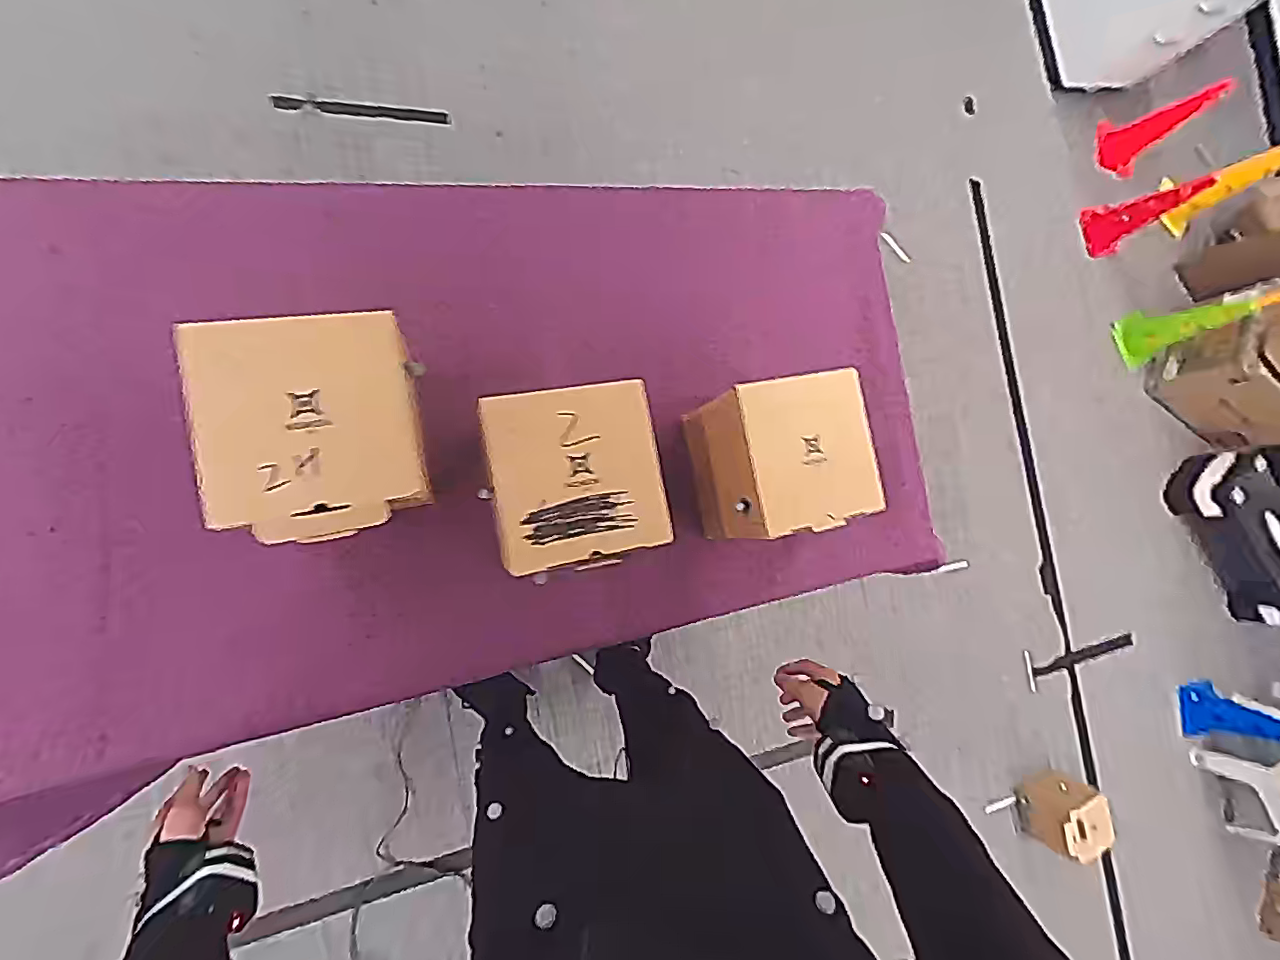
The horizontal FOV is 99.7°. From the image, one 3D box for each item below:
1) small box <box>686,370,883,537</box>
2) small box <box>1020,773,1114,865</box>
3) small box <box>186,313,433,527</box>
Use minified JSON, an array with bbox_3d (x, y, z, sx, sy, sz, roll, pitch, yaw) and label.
[{"bbox_3d":[0.174,-0.027,0.697,0.168,0.176,0.179,-11,89,-18],"label":"small box"},{"bbox_3d":[1.372,1.089,1.752,0.179,0.176,0.168,-11,89,-19],"label":"small box"},{"bbox_3d":[-0.310,-0.050,0.544,0.168,0.176,0.179,-9,88,-18],"label":"small box"}]
